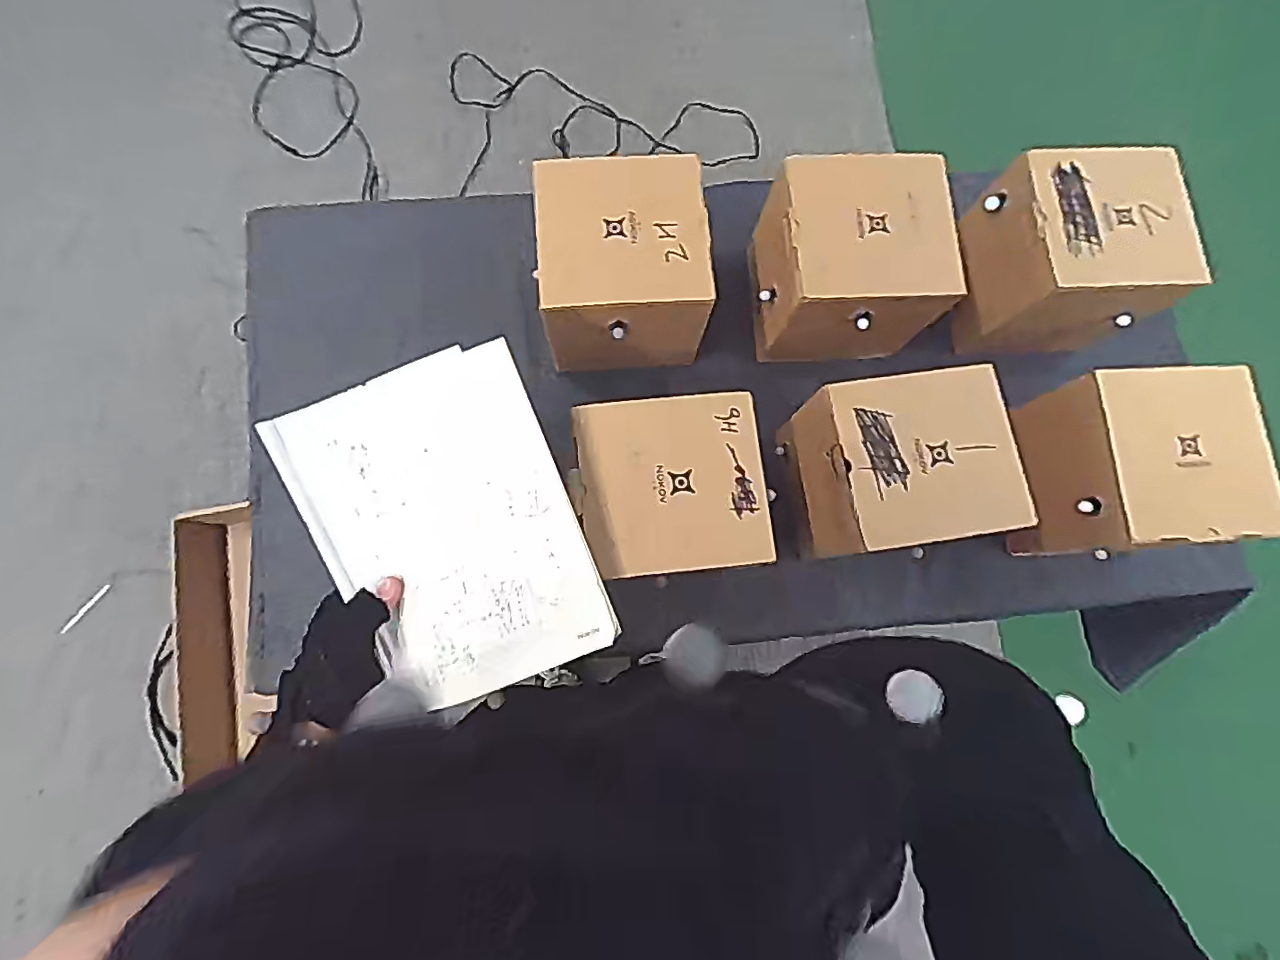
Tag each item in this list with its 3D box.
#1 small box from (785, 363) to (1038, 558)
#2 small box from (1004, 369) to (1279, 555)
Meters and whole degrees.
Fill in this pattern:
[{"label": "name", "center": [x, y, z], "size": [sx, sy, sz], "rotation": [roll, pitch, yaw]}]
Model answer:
[{"label": "small box", "center": [0.272, -0.010, 0.592], "size": [0.179, 0.176, 0.168], "rotation": [-8, 79, -6]}, {"label": "small box", "center": [0.533, -0.011, 0.609], "size": [0.168, 0.176, 0.179], "rotation": [-2, 79, -3]}]
